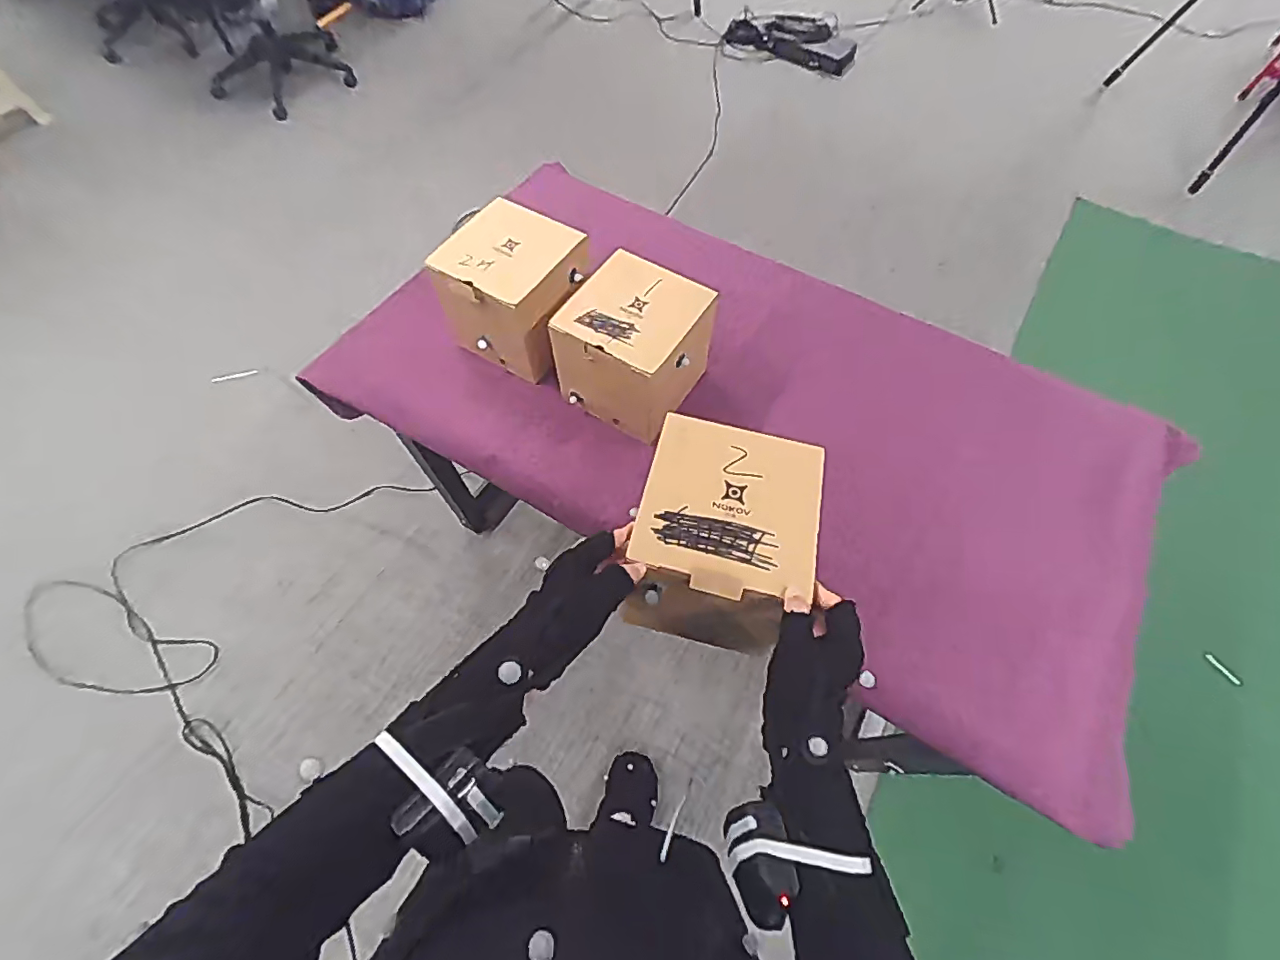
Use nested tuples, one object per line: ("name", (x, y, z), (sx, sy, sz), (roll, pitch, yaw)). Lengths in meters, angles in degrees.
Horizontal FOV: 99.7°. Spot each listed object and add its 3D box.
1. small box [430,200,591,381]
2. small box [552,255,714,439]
("small box", (-0.188, -0.293, 0.852), (0.168, 0.176, 0.179), (28, 66, 14))
("small box", (-0.001, -0.190, 0.803), (0.168, 0.176, 0.179), (26, 68, 17))
